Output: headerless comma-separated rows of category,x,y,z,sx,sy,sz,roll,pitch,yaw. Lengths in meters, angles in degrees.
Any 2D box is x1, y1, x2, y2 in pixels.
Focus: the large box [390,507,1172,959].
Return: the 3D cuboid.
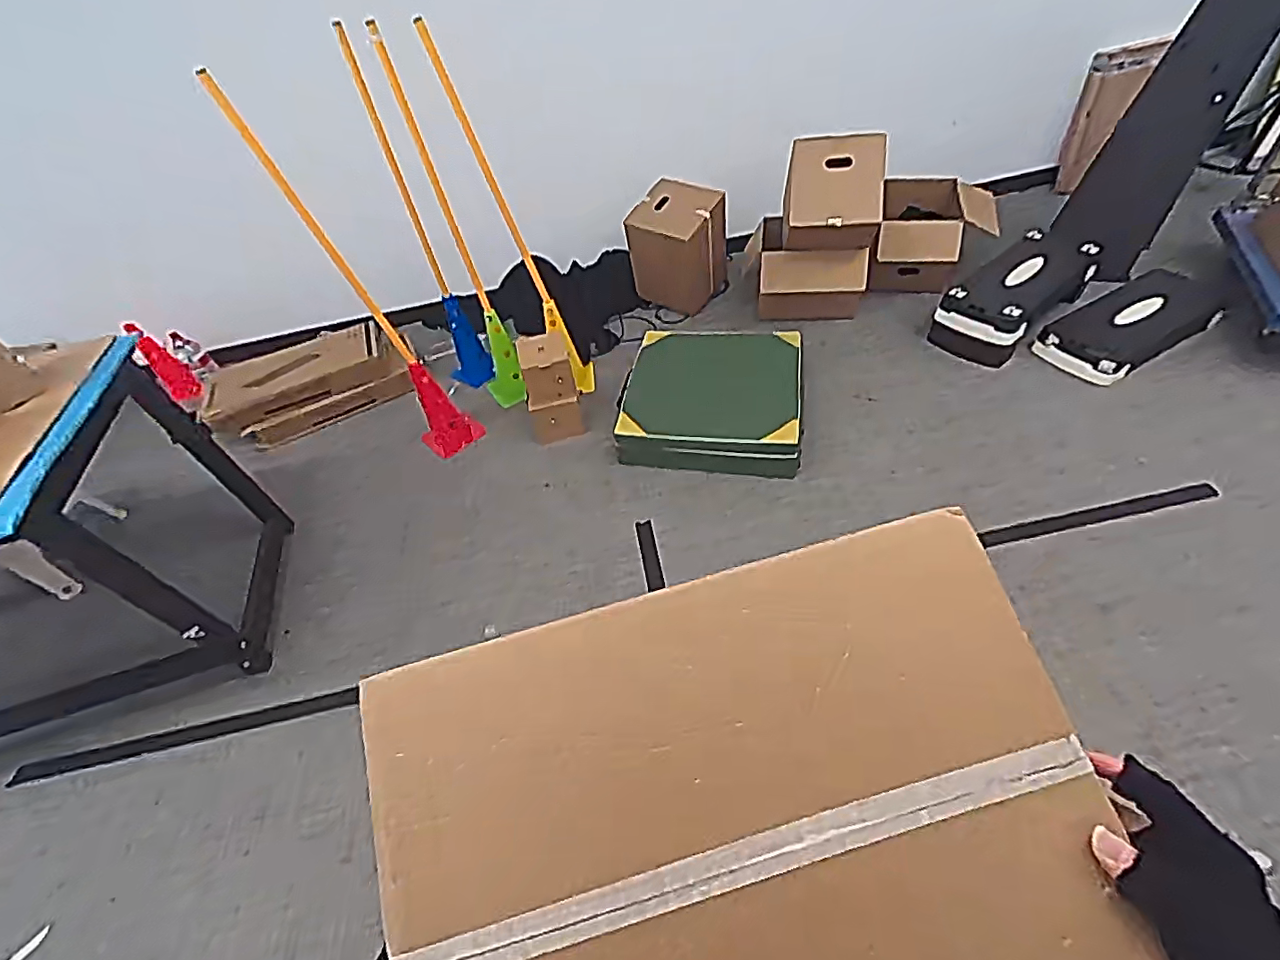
large box,0.071,0.259,0.460,0.408,0.320,0.320,-16,73,-3
